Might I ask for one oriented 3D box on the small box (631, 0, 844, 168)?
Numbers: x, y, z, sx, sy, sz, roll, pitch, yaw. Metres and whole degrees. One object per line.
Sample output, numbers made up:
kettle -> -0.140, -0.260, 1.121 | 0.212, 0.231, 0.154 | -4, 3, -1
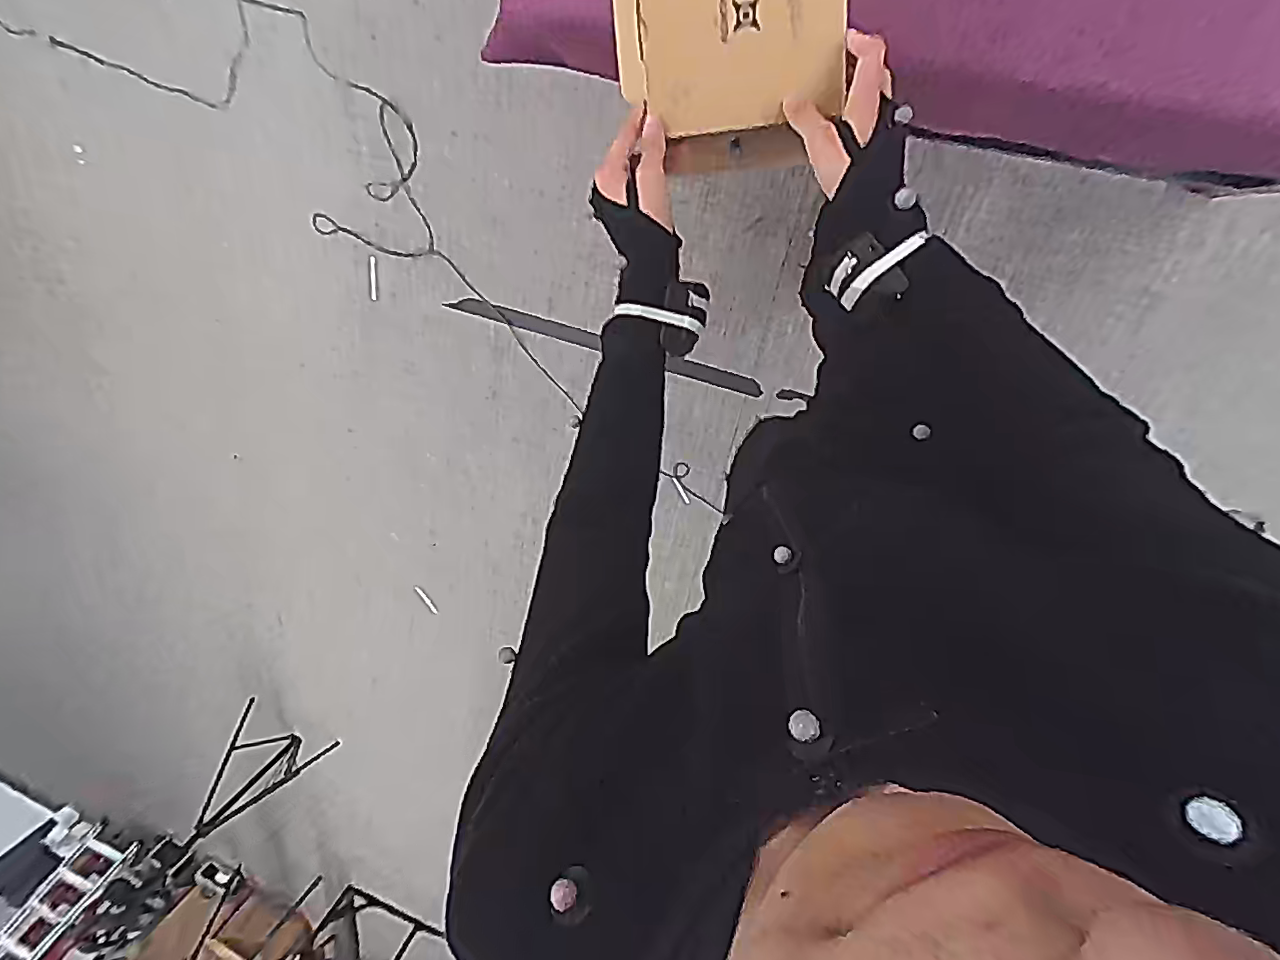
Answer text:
small box -> 0.083, -0.416, 0.521 | 0.179, 0.176, 0.168 | -4, 108, 3
